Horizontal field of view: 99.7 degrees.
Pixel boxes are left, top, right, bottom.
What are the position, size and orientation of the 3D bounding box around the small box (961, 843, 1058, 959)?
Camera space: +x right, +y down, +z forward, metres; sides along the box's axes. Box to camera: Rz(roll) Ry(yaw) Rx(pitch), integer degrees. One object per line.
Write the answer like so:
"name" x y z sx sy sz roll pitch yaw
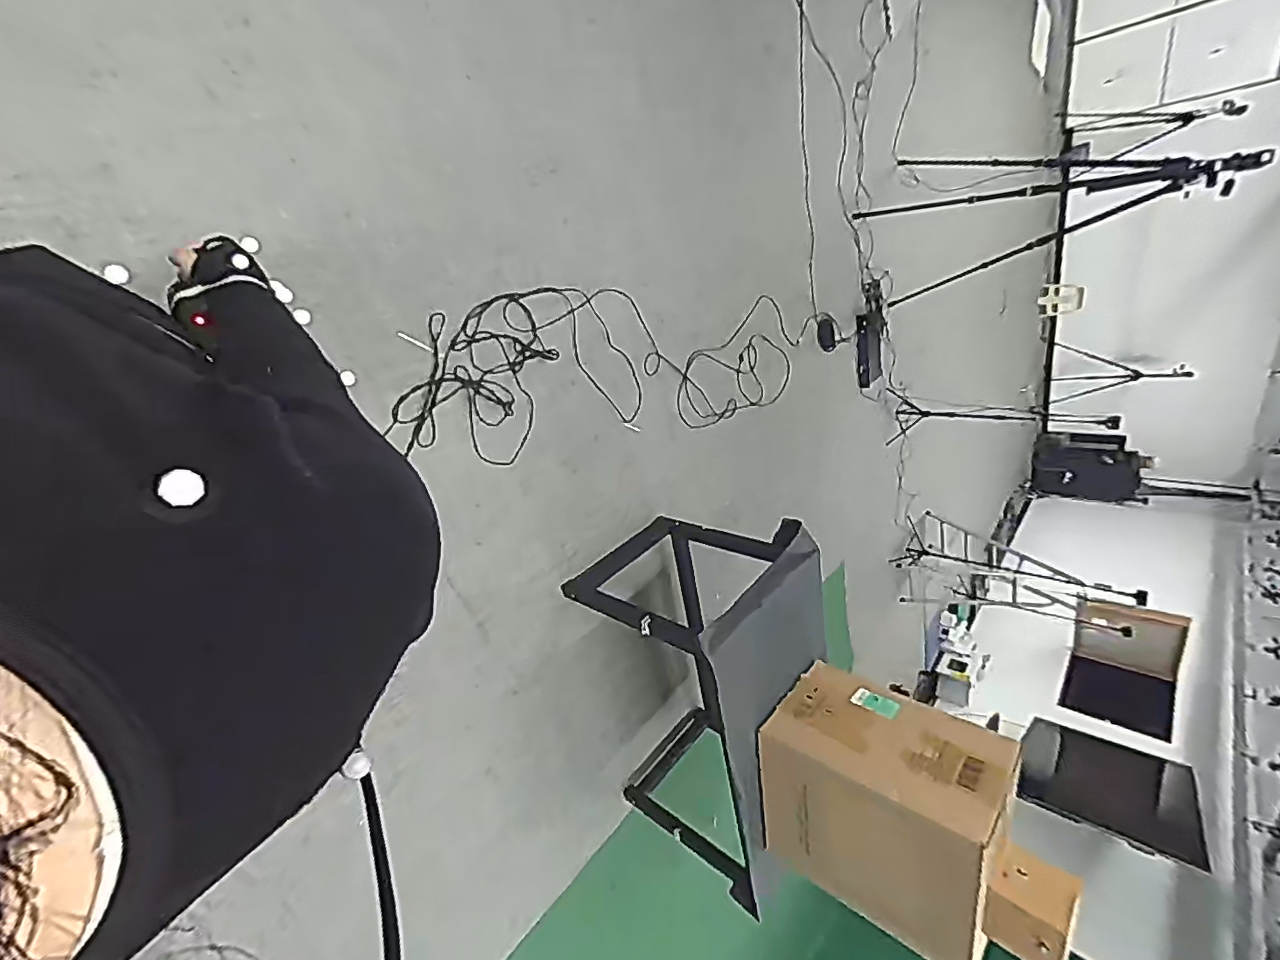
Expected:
"small box" 0.950 1.098 1.399 0.168 0.176 0.179 -22 114 -40
